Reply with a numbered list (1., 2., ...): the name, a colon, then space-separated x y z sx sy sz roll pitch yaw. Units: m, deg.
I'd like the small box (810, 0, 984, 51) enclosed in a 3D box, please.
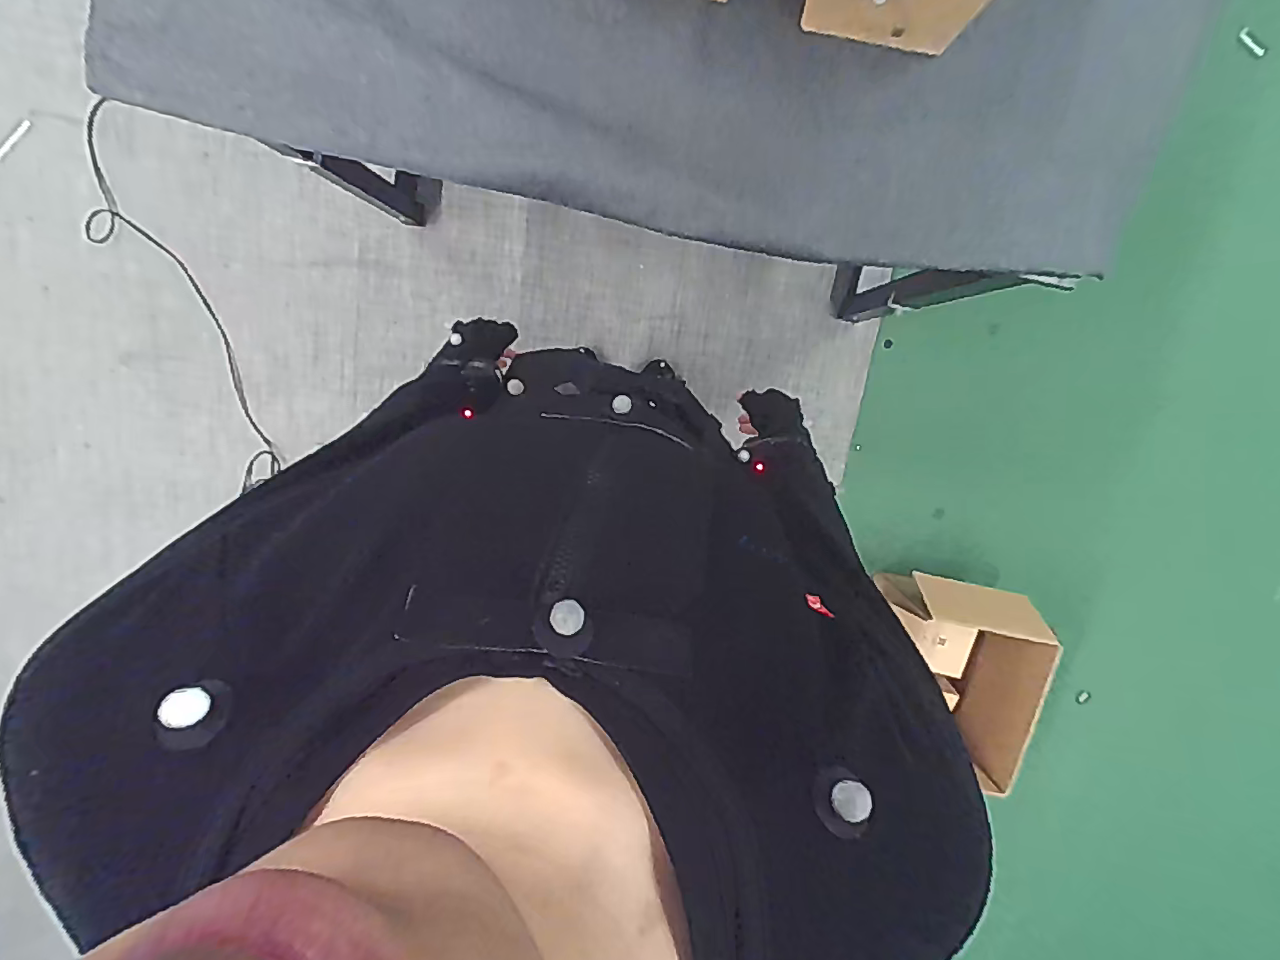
1. small box: 0.277 -0.562 0.519 0.168 0.176 0.179 11 102 0
